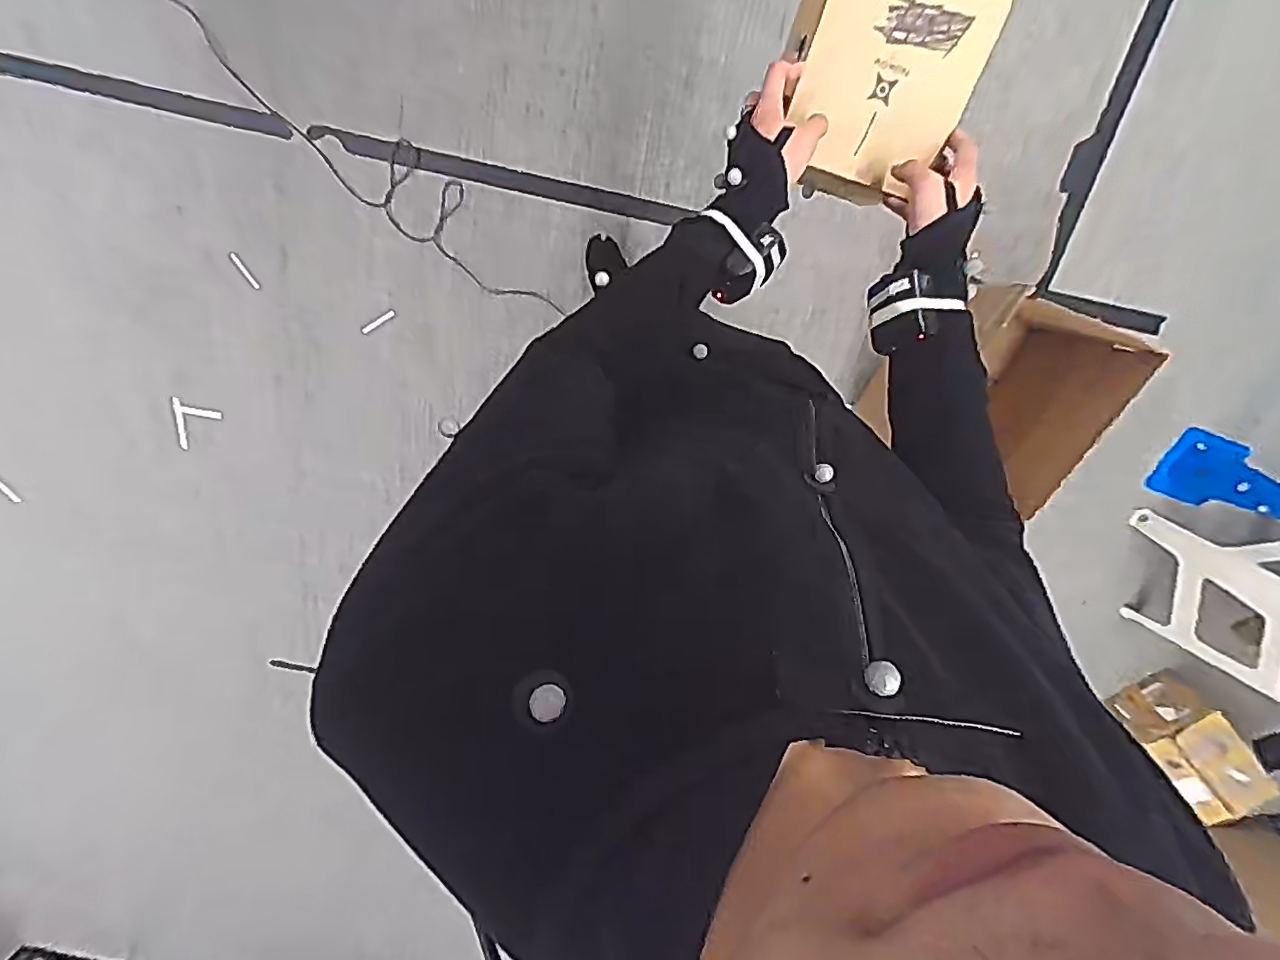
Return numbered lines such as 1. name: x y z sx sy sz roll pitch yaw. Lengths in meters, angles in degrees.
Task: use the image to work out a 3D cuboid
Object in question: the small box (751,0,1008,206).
1. small box: 0.232 -0.413 0.583 0.168 0.176 0.179 15 115 -6
